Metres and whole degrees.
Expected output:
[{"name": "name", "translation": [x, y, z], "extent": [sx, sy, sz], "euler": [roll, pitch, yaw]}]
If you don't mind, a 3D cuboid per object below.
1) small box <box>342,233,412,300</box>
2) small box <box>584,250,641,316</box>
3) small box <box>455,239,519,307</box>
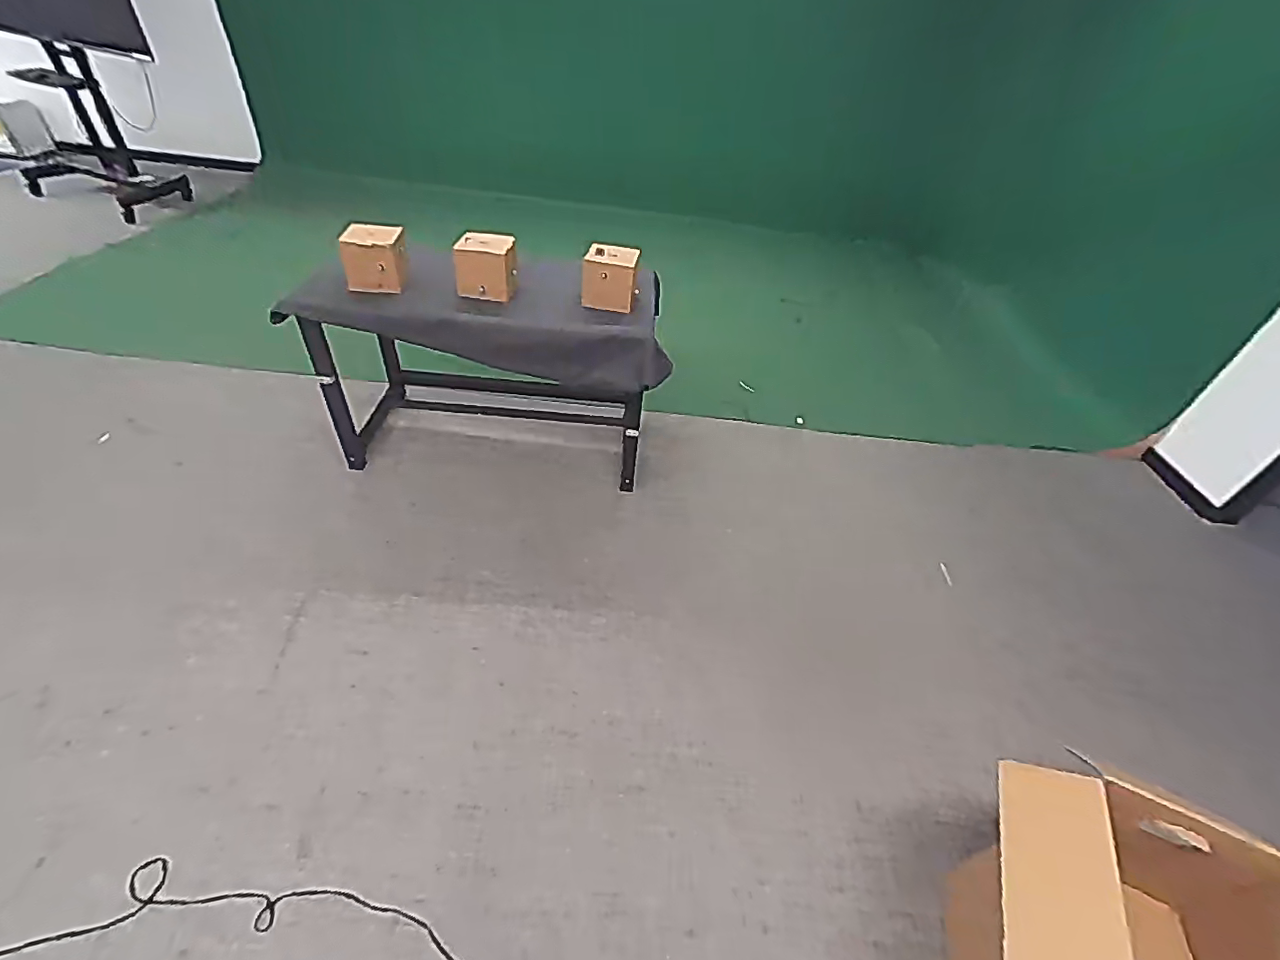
[{"name": "small box", "translation": [-0.898, -0.735, 1.866], "extent": [0.168, 0.176, 0.179], "euler": [1, 40, -9]}, {"name": "small box", "translation": [-0.100, -0.702, 1.929], "extent": [0.179, 0.176, 0.168], "euler": [9, 42, 2]}, {"name": "small box", "translation": [-0.530, -0.727, 1.904], "extent": [0.179, 0.176, 0.168], "euler": [7, 41, -1]}]
